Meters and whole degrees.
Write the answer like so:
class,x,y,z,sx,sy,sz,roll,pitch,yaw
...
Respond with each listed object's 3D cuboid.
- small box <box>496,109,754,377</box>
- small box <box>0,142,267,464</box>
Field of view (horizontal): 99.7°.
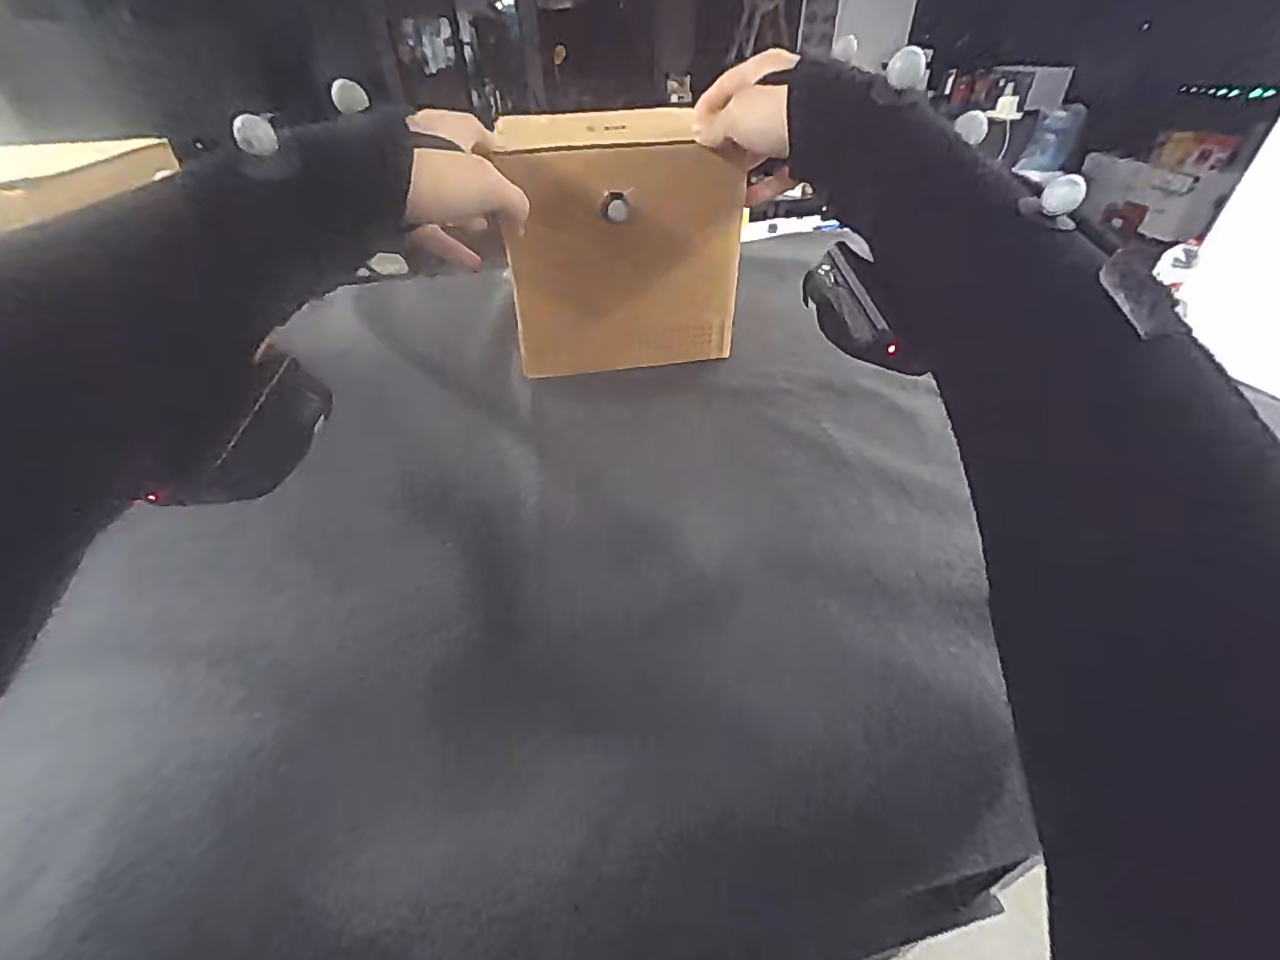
class,x,y,z,sx,sy,sz,roll,pitch,yaw
small box,-0.018,-0.206,0.467,0.179,0.176,0.168,-8,40,-6
small box,-0.405,-0.124,0.382,0.168,0.176,0.179,-9,39,-9
